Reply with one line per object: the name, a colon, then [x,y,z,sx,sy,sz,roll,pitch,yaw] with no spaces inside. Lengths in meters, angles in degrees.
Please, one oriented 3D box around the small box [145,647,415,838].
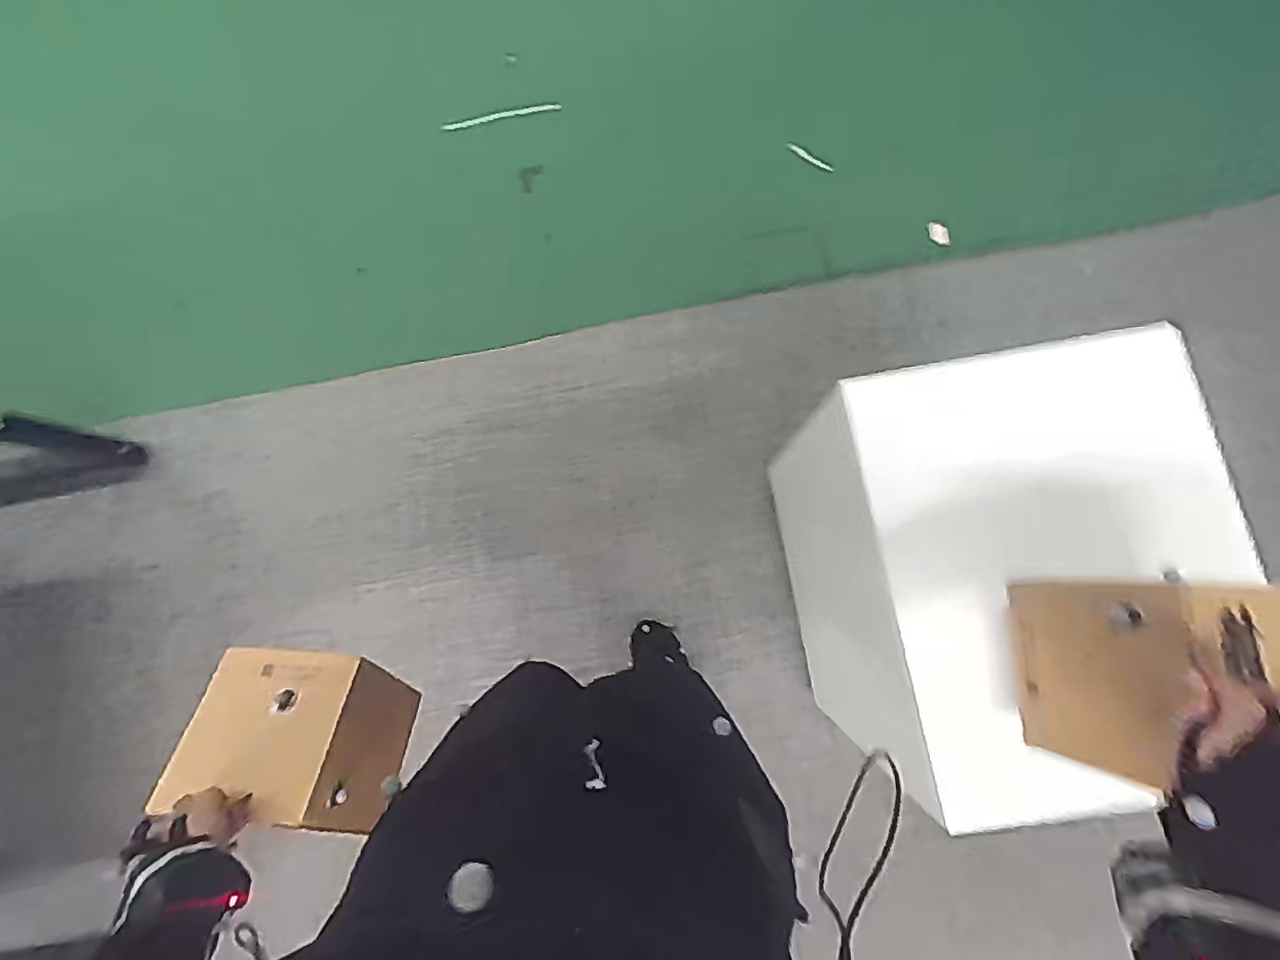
small box: [-0.394,0.309,0.636,0.168,0.179,0.176,2,56,6]
